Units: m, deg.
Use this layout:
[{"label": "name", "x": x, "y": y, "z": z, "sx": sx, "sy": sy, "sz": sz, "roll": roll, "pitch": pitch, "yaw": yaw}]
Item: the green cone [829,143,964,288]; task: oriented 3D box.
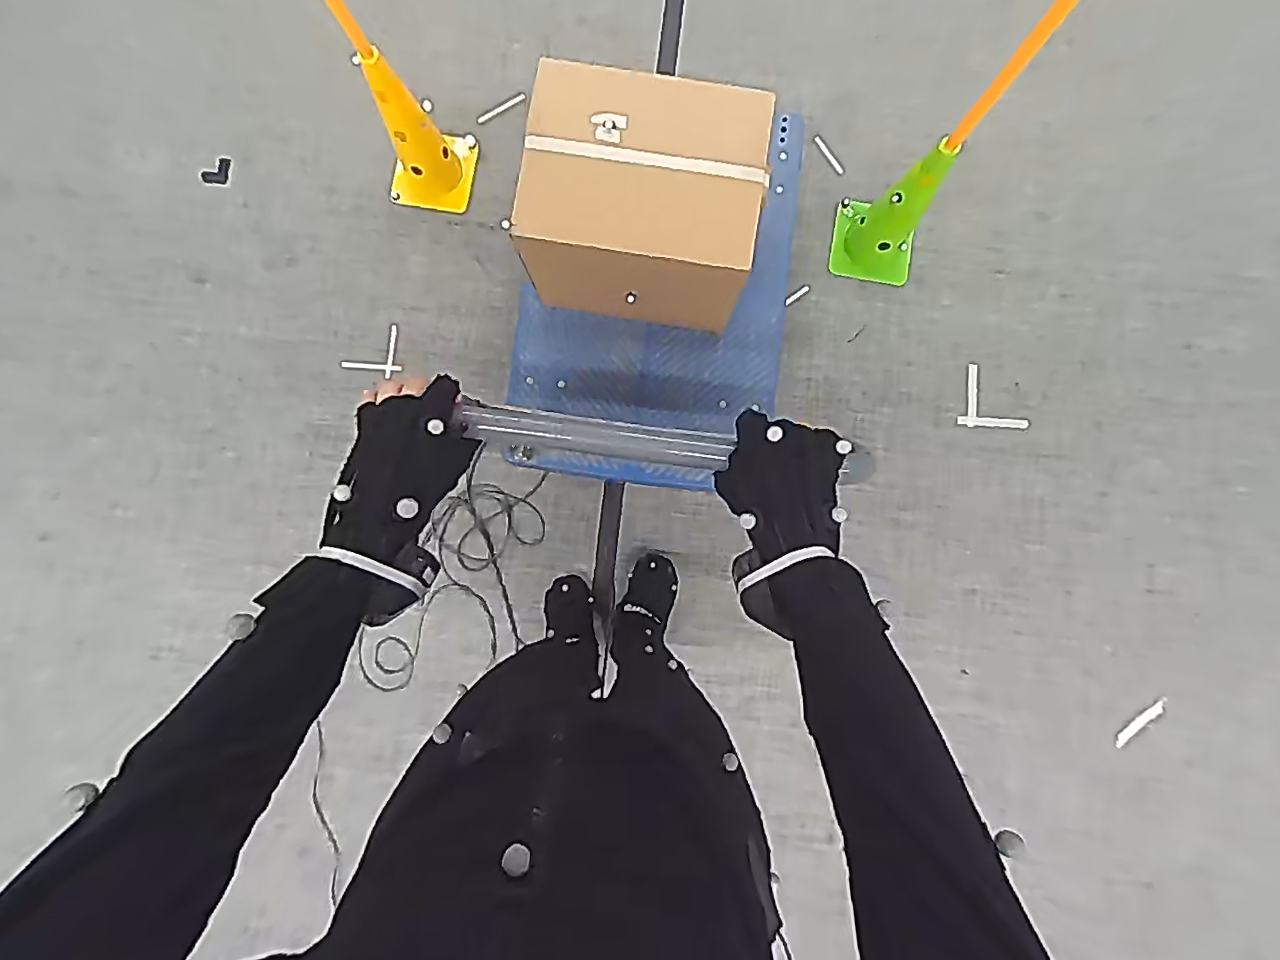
[{"label": "green cone", "x": 0.593, "y": -0.611, "z": 1.210, "sx": 0.202, "sy": 0.368, "sz": 0.200, "roll": 10, "pitch": 86, "yaw": 0}]

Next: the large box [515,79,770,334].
[{"label": "large box", "x": 0.010, "y": -0.504, "z": 1.064, "sx": 0.408, "sy": 0.320, "sz": 0.320, "roll": 9, "pitch": 86, "yaw": 2}]
